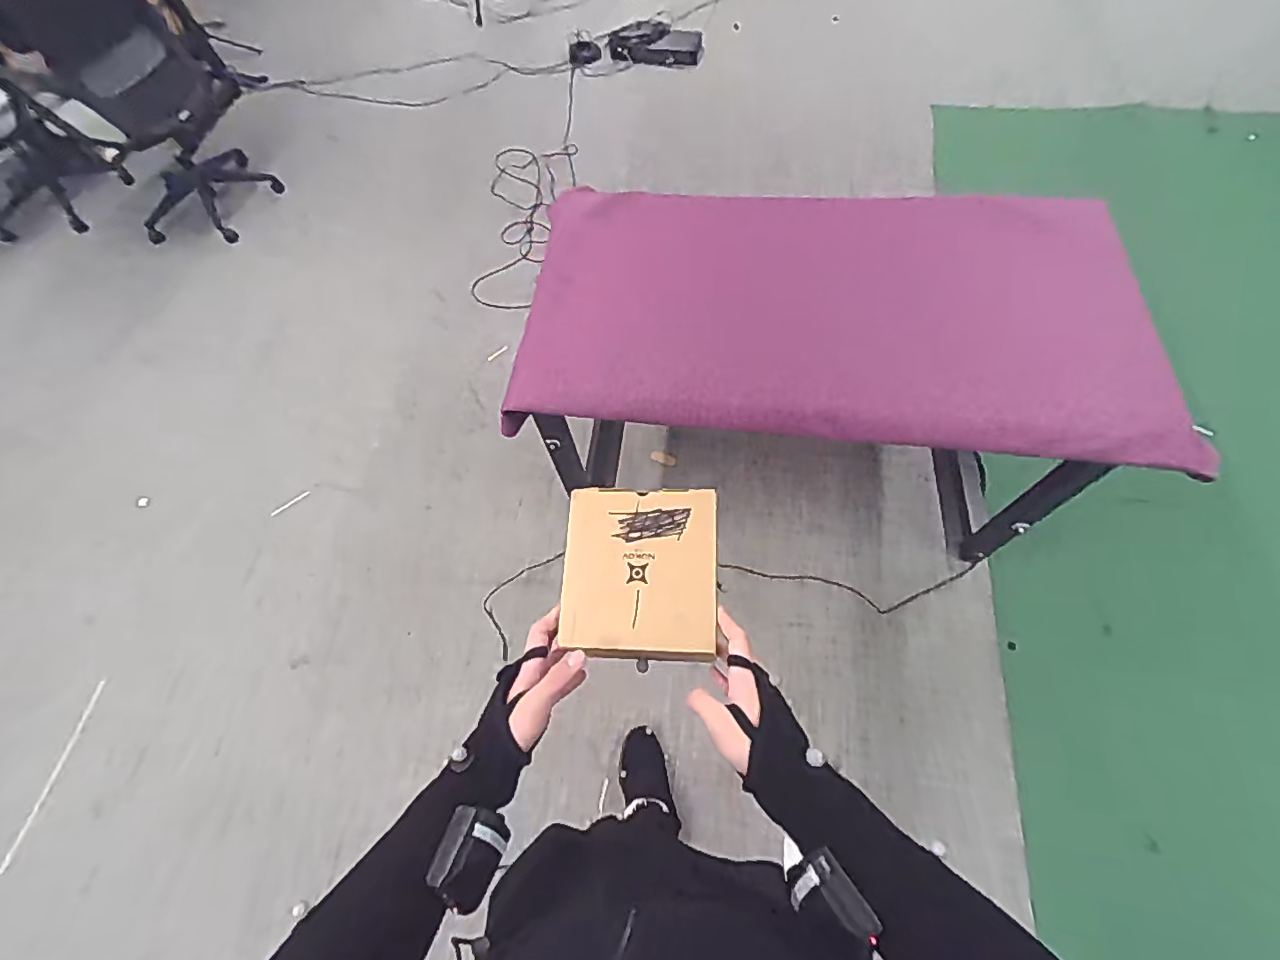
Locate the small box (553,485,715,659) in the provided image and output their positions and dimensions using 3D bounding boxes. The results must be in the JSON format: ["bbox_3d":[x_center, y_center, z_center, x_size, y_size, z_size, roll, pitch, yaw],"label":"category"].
[{"bbox_3d":[0.005,0.116,0.654,0.168,0.176,0.179,0,69,8],"label":"small box"}]
